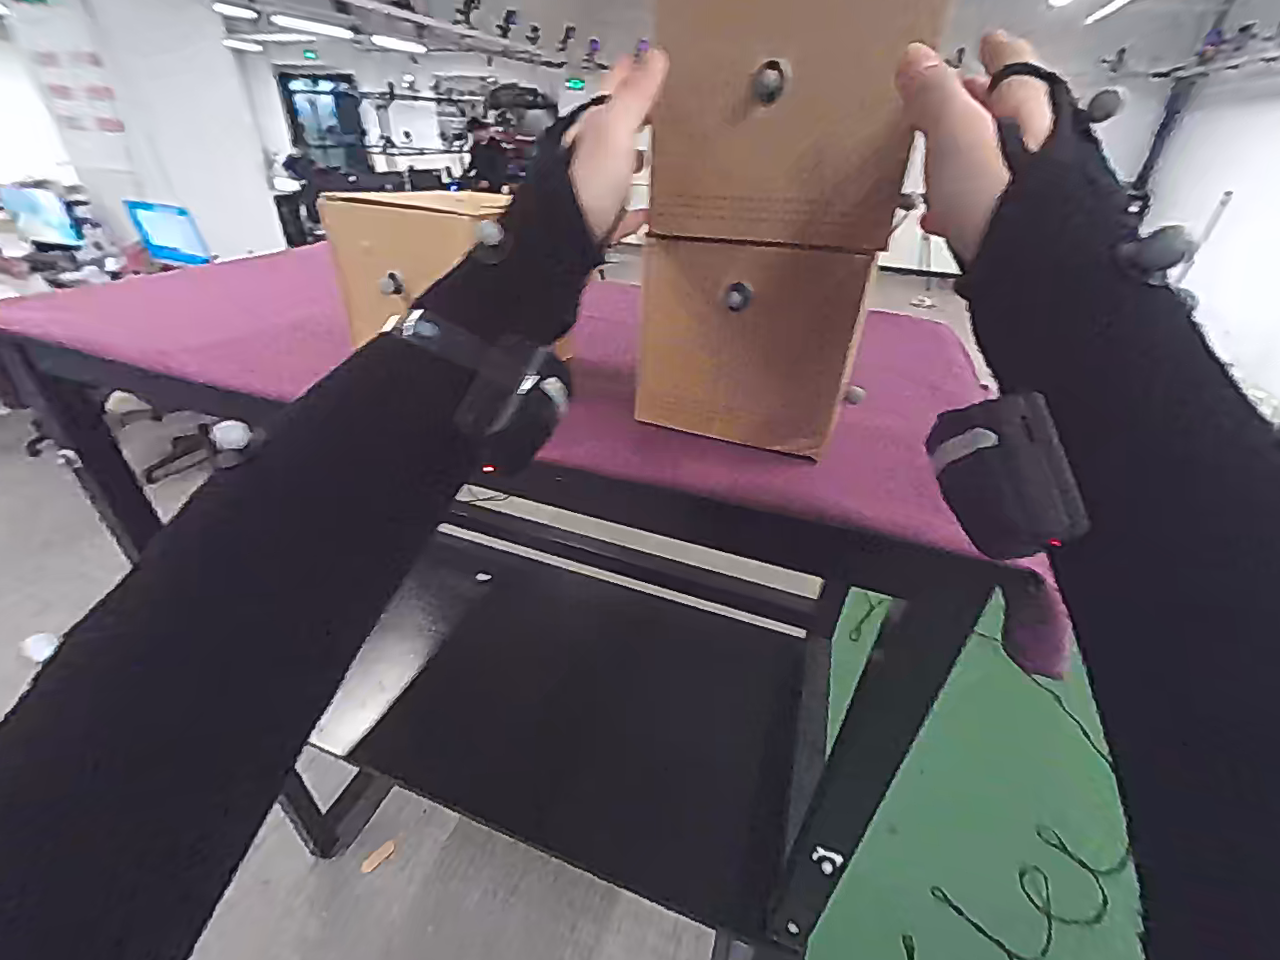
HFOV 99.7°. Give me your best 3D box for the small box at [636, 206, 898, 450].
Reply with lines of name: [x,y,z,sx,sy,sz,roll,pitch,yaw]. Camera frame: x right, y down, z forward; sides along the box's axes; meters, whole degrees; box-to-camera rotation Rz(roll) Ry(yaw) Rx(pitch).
small box: [0.107,-0.143,0.477,0.179,0.176,0.168,17,35,19]

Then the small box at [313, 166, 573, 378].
small box: [-0.184,-0.217,0.552,0.179,0.176,0.168,17,35,18]

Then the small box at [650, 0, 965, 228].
small box: [0.115,-0.281,0.388,0.179,0.176,0.168,12,34,15]
